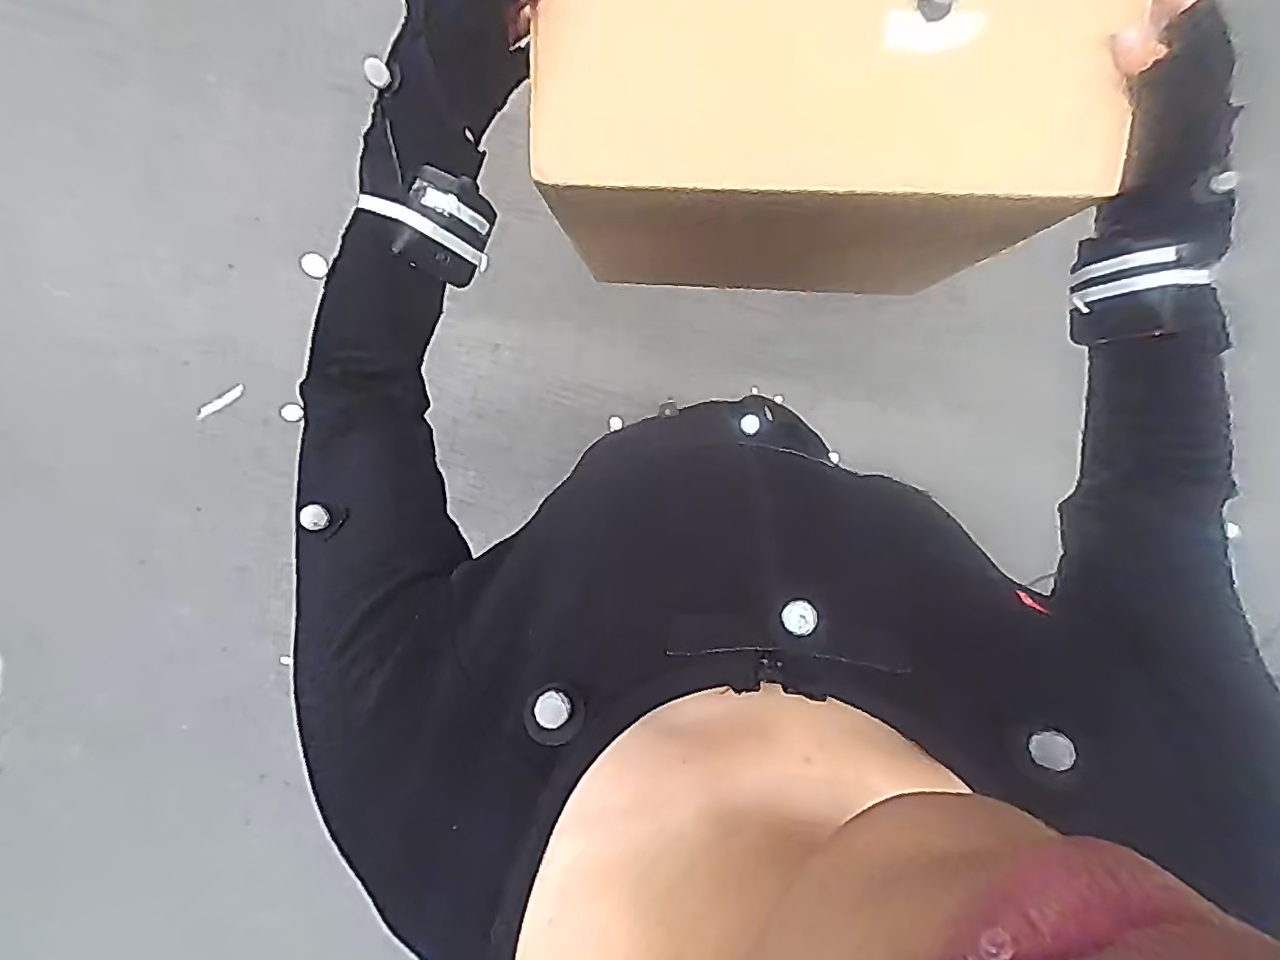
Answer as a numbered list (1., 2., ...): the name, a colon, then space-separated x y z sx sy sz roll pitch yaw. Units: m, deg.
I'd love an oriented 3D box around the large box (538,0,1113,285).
1. large box: 0.131 -0.382 0.522 0.408 0.320 0.320 2 97 3
